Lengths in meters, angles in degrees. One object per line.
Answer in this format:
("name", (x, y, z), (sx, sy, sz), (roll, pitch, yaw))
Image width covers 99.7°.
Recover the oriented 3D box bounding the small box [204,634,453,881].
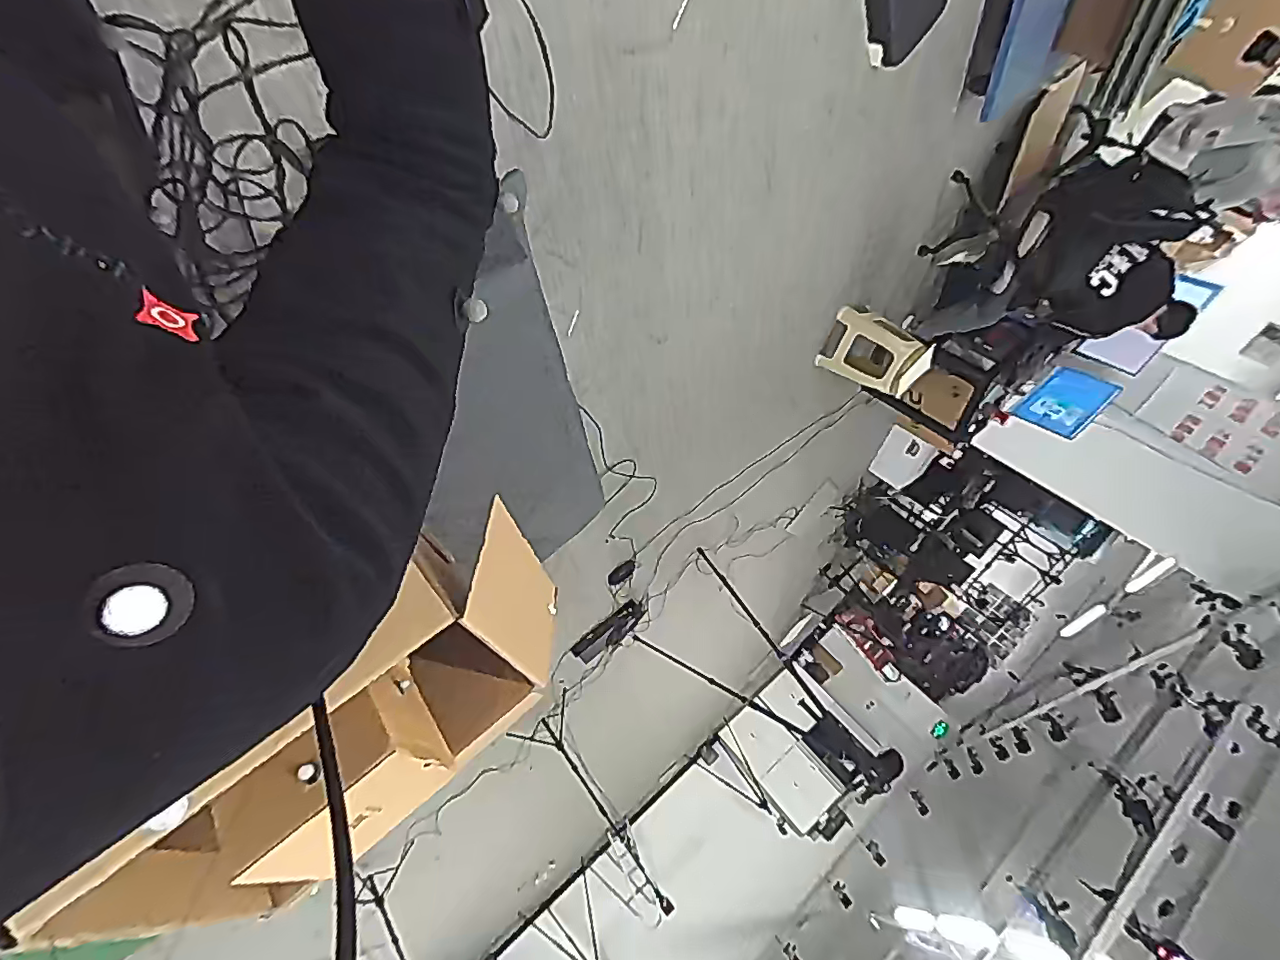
("small box", (-0.356, 0.315, 0.623), (0.179, 0.176, 0.168), (-37, 148, -17))
